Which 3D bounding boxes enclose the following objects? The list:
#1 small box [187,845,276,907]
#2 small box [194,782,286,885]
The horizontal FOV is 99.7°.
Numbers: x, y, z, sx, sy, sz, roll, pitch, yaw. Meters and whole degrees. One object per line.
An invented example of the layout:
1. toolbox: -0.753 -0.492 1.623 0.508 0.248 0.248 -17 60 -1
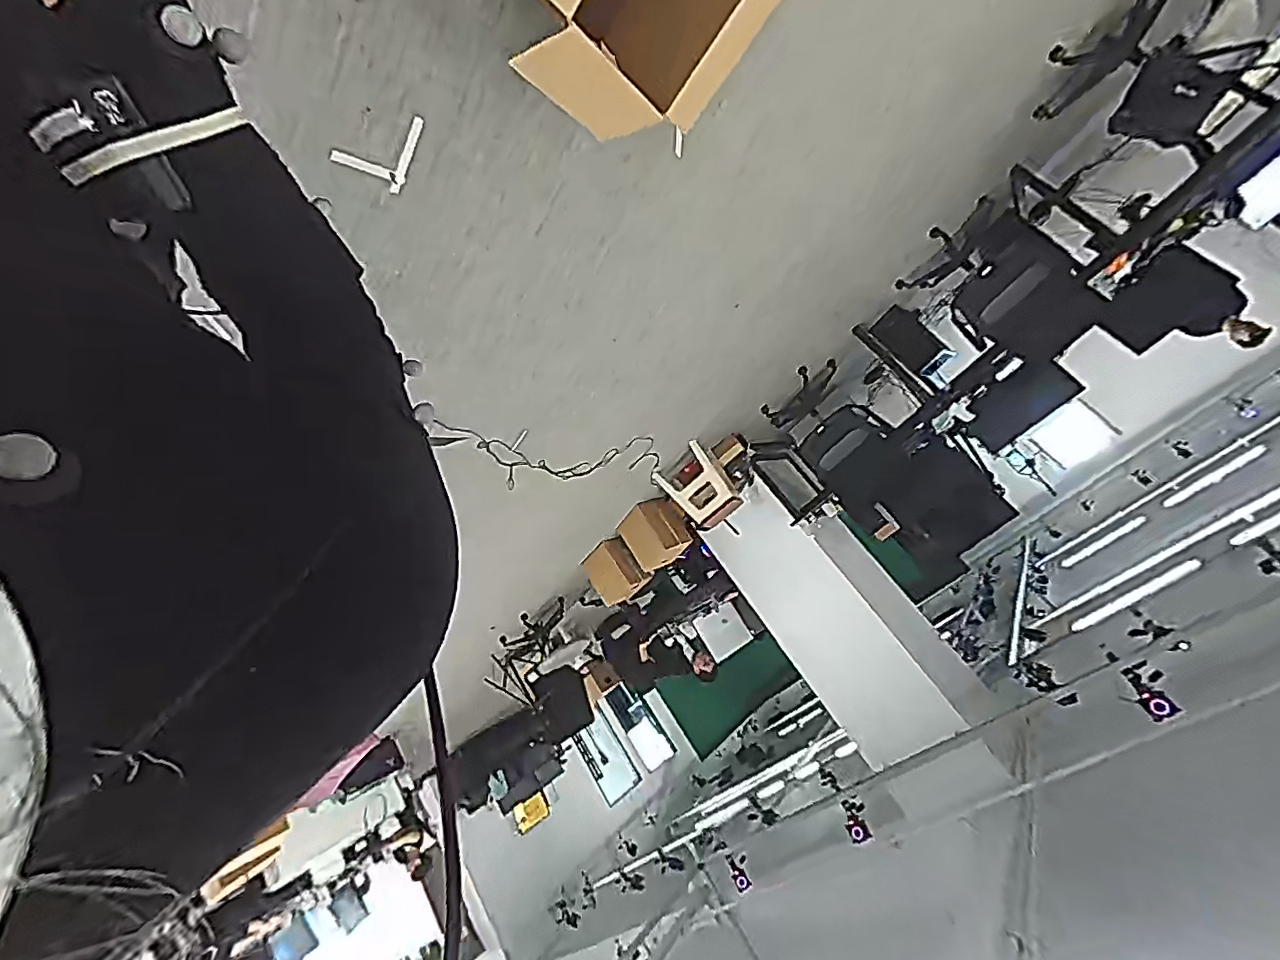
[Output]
1. small box: -1.338 1.236 1.762 0.176 0.168 0.179 -46 165 26
2. small box: -1.200 1.049 1.615 0.179 0.176 0.168 -8 146 -52
